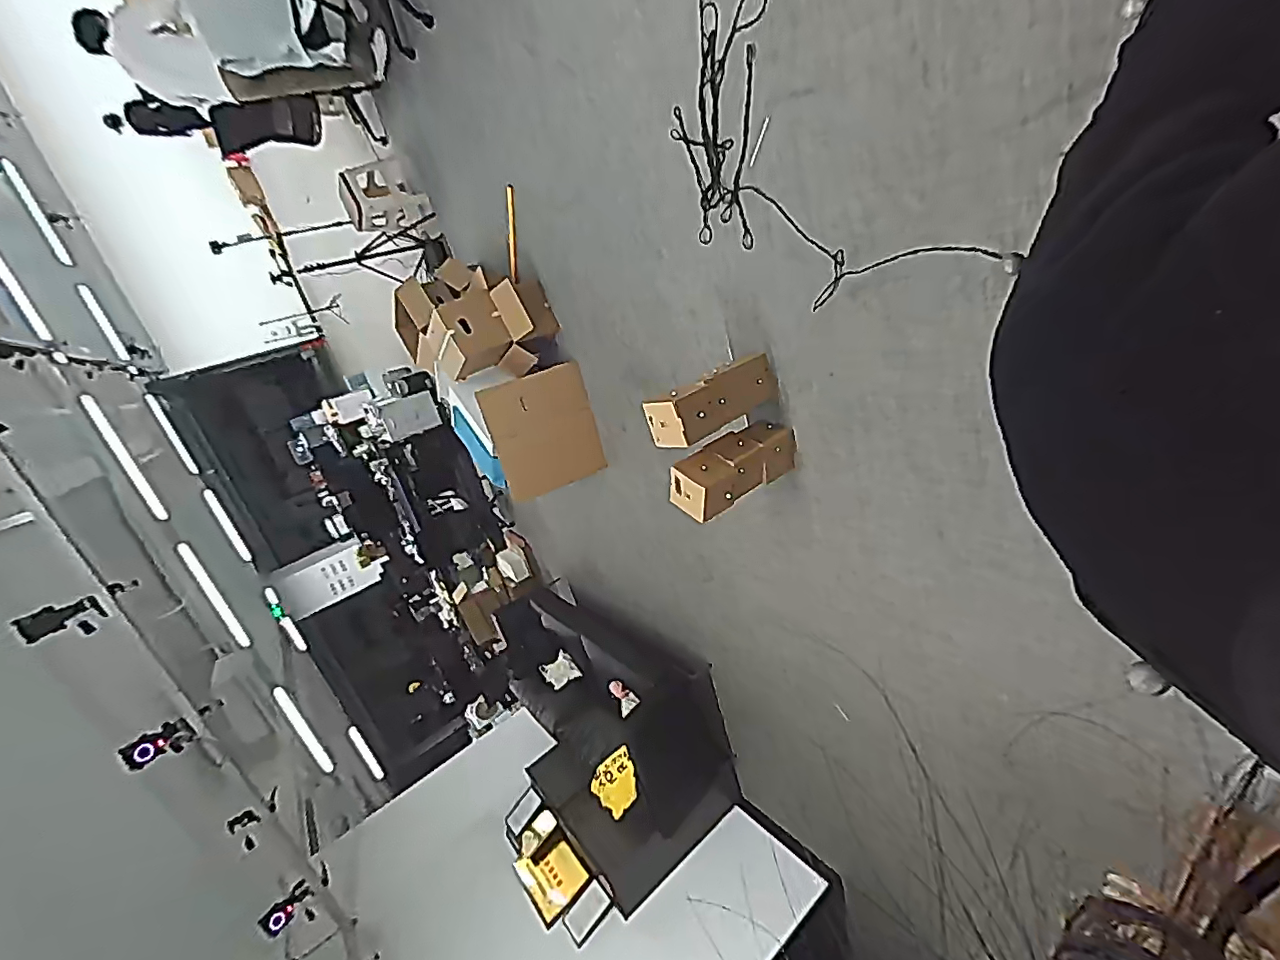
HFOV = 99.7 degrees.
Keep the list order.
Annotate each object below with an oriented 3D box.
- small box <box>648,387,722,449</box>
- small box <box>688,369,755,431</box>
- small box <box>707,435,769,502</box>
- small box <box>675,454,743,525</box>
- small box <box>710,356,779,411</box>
[{"bbox_3d":[0.163,-0.215,1.869,0.179,0.176,0.168,6,120,54],"label":"small box"},{"bbox_3d":[0.286,-0.280,1.954,0.168,0.176,0.179,-6,110,58],"label":"small box"},{"bbox_3d":[0.367,-0.044,2.032,0.168,0.176,0.179,33,139,42],"label":"small box"},{"bbox_3d":[0.245,0.027,1.947,0.179,0.176,0.168,36,142,38],"label":"small box"},{"bbox_3d":[0.402,-0.356,2.040,0.179,0.176,0.168,3,117,58],"label":"small box"}]
